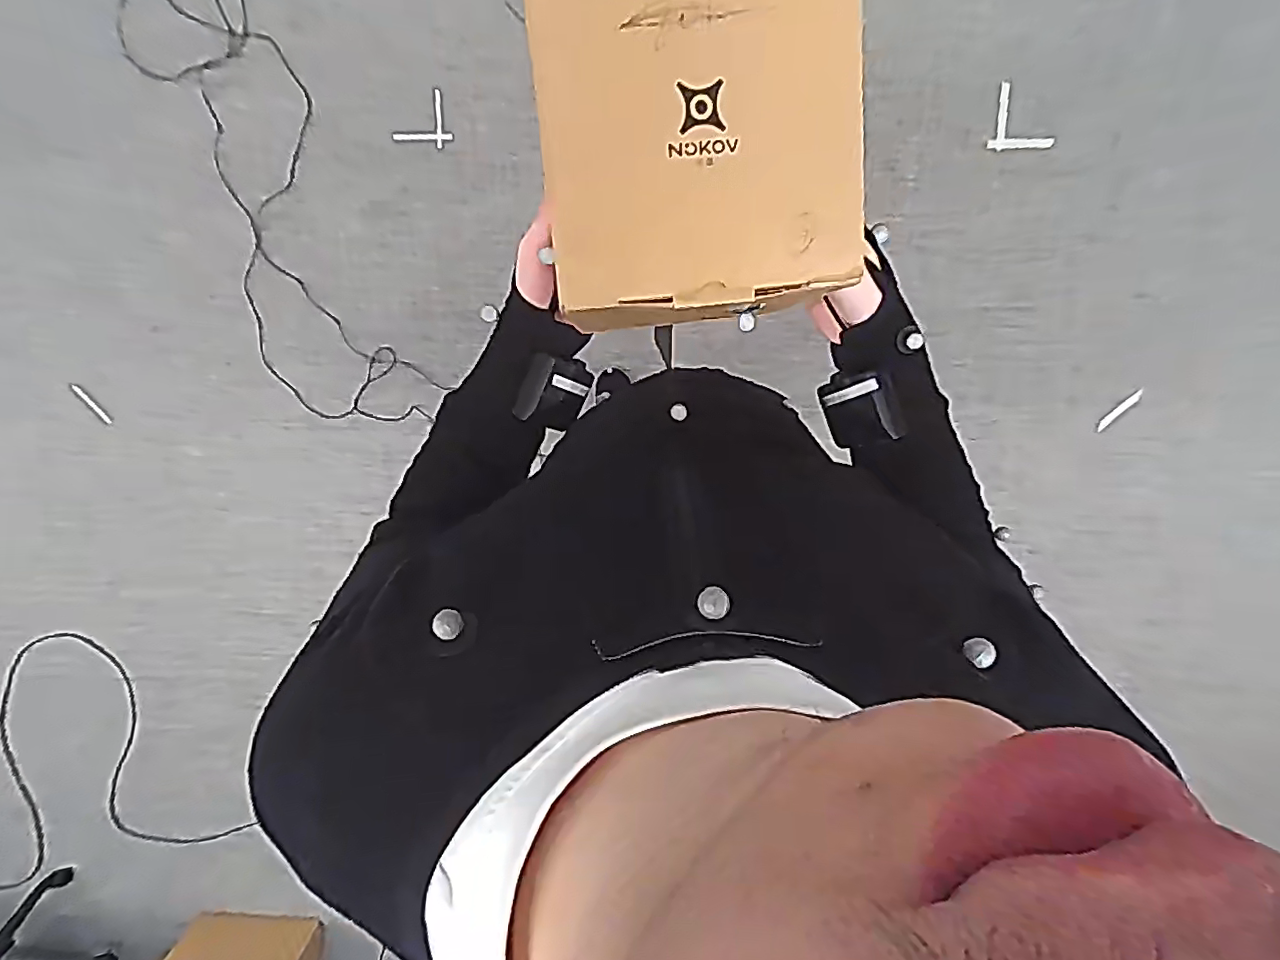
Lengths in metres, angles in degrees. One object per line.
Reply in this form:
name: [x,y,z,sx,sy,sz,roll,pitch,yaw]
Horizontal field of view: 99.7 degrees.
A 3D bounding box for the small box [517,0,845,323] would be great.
small box: [0.022,-0.203,0.360,0.168,0.176,0.179,-7,101,-2]
